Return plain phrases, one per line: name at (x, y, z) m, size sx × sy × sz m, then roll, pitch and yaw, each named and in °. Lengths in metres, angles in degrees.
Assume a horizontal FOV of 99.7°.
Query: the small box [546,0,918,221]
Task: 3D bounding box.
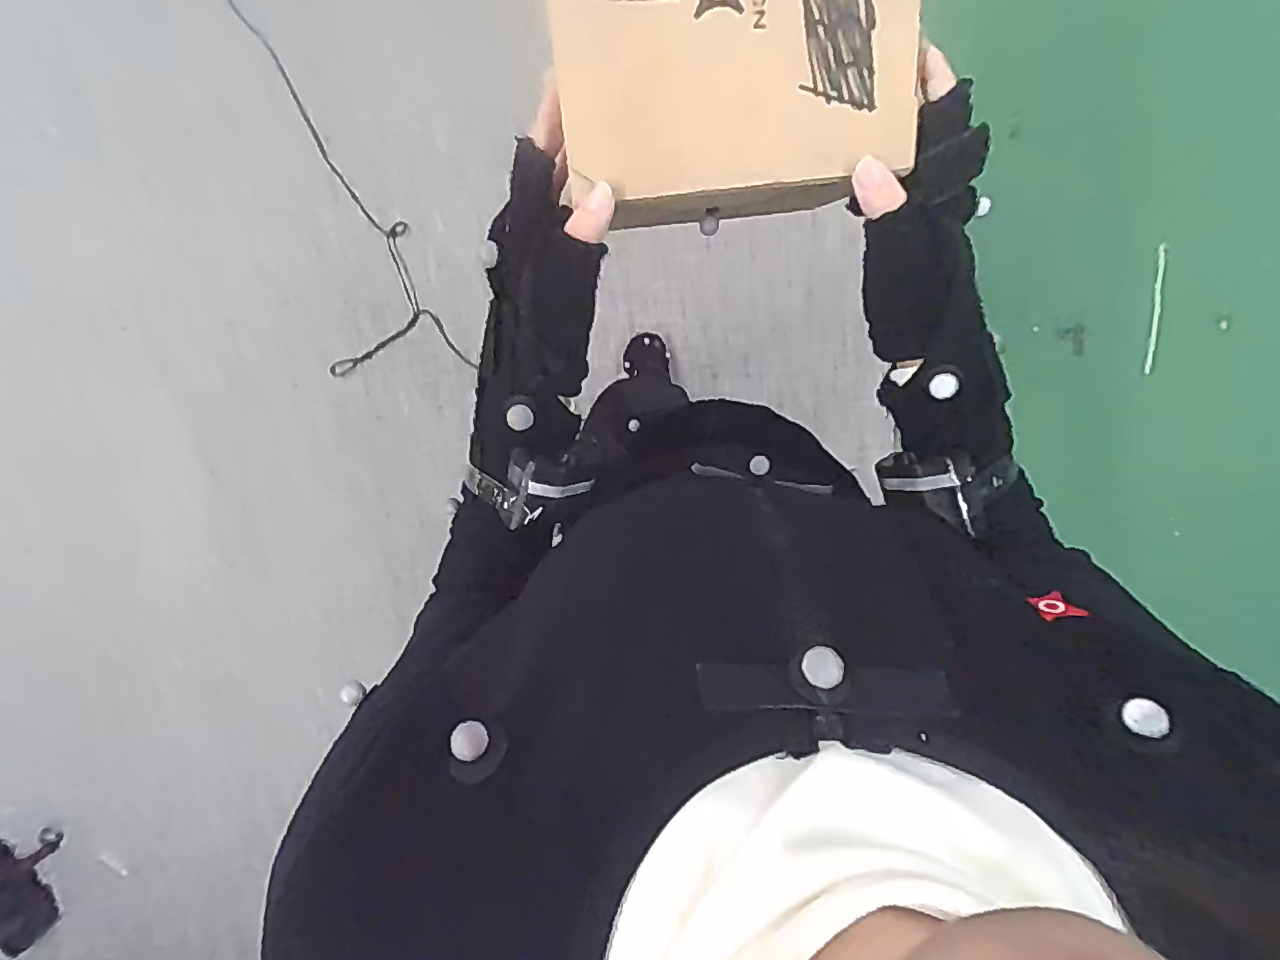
small box at (0.042, -0.256, 0.322) m, size 0.179 × 0.176 × 0.168 m, roll -5°, pitch 112°, yaw 2°
